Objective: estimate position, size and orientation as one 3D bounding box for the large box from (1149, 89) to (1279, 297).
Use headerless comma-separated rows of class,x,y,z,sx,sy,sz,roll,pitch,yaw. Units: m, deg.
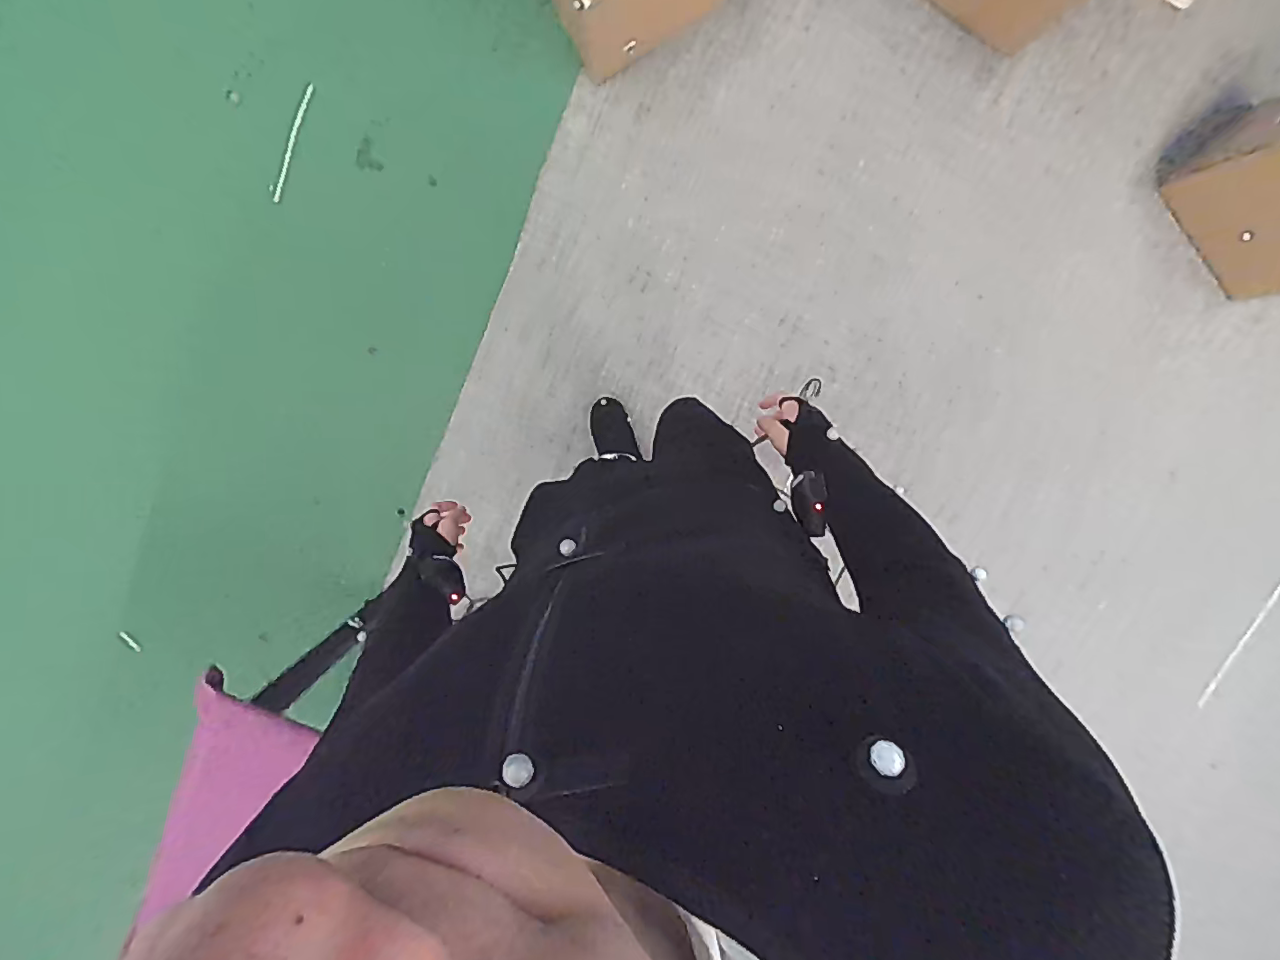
large box,1.623,-0.723,1.330,0.320,0.320,0.408,-42,97,7
